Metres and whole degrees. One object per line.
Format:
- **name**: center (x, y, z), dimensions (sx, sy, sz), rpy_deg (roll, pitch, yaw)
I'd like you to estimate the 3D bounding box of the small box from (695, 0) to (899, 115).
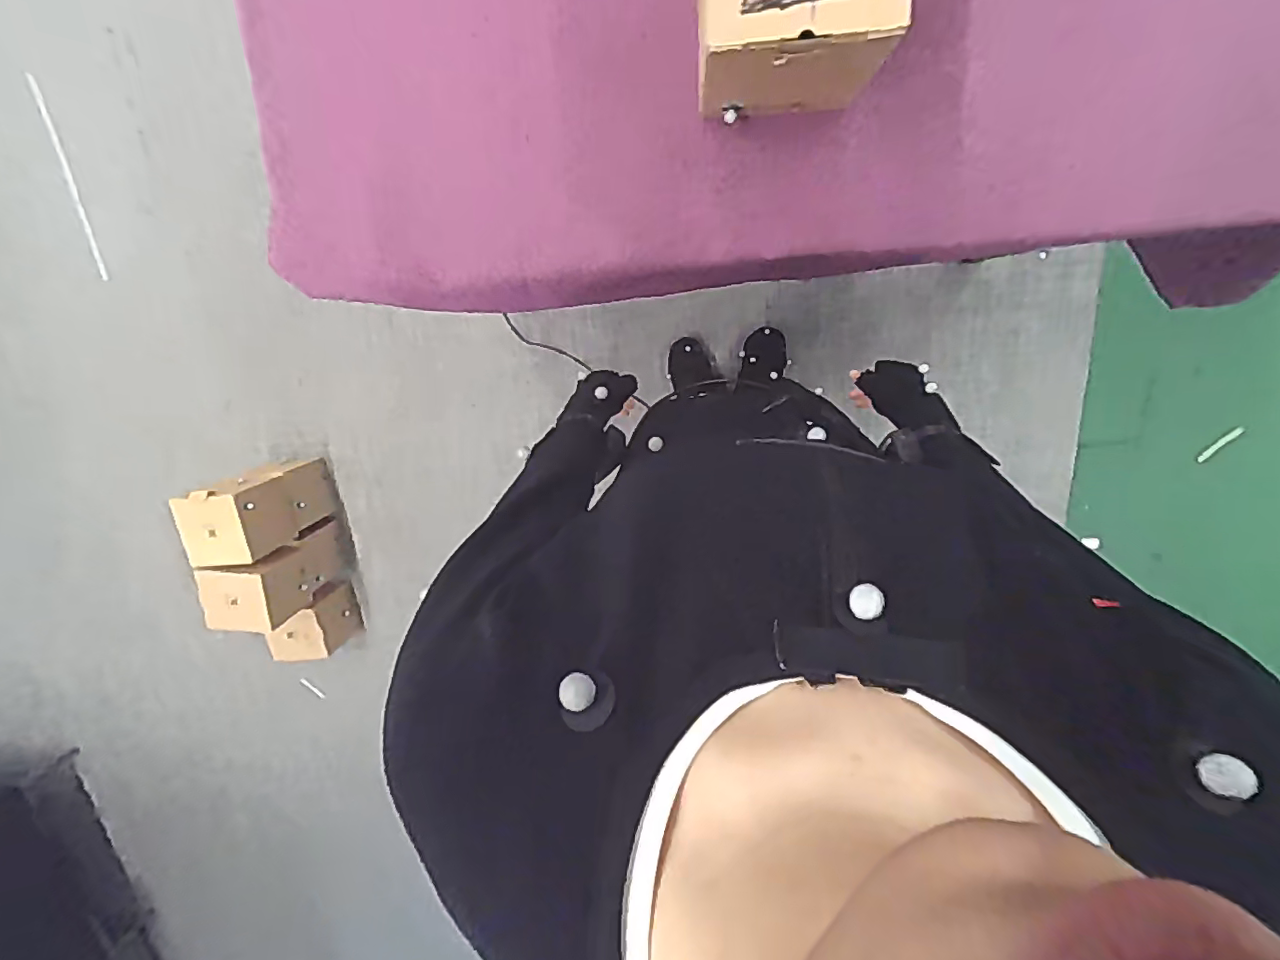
- **small box**: center (0.137, -0.472, 0.513), dimensions (0.168, 0.176, 0.179), rpy_deg (-1, 105, 5)
